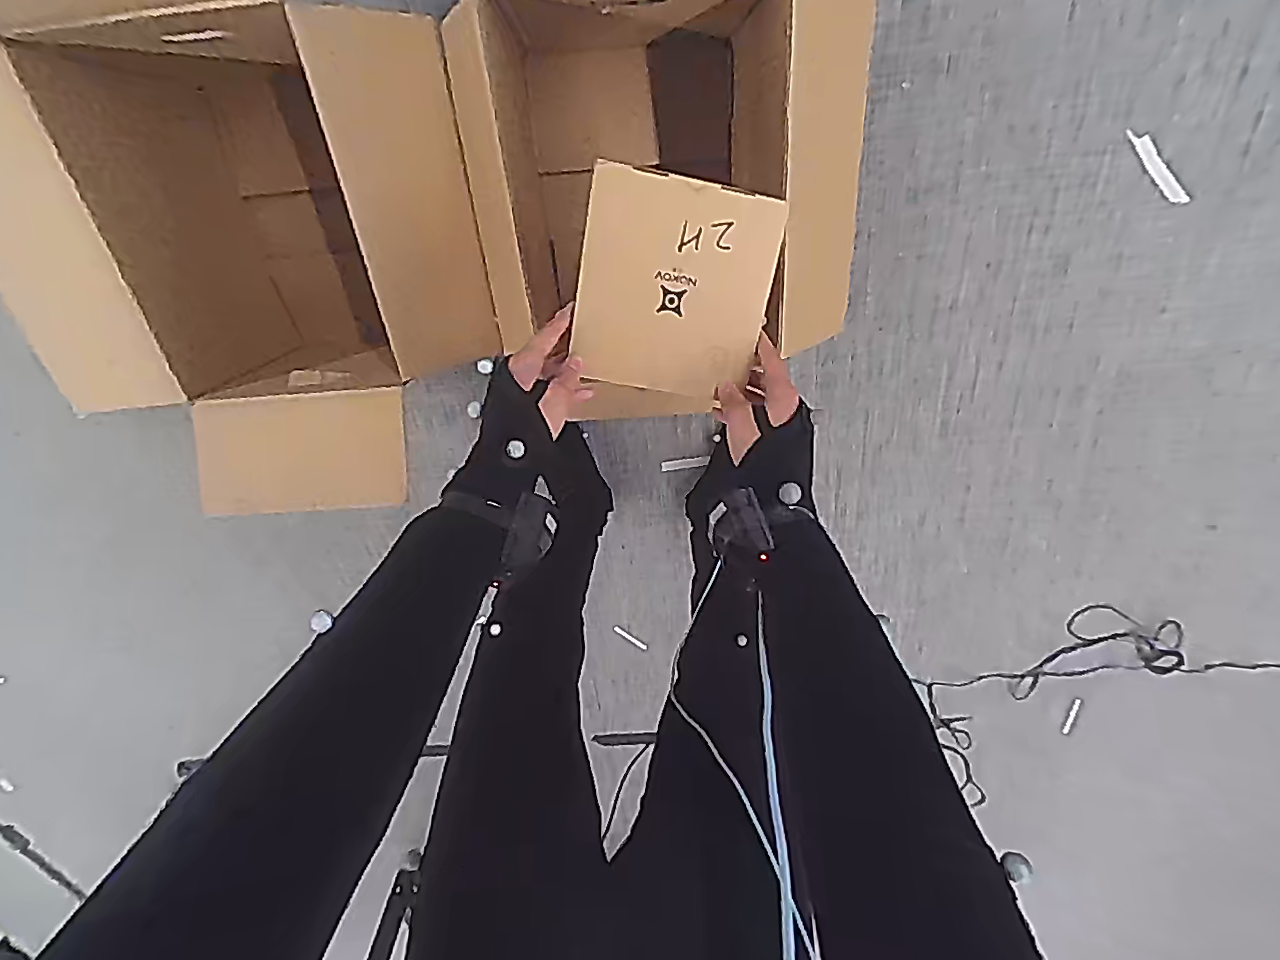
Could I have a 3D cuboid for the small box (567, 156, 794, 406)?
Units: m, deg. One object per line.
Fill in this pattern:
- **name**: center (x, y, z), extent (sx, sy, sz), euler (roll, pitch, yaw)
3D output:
- **small box**: center (0.026, -0.187, 0.533), extent (0.168, 0.176, 0.179), euler (9, 109, -8)
